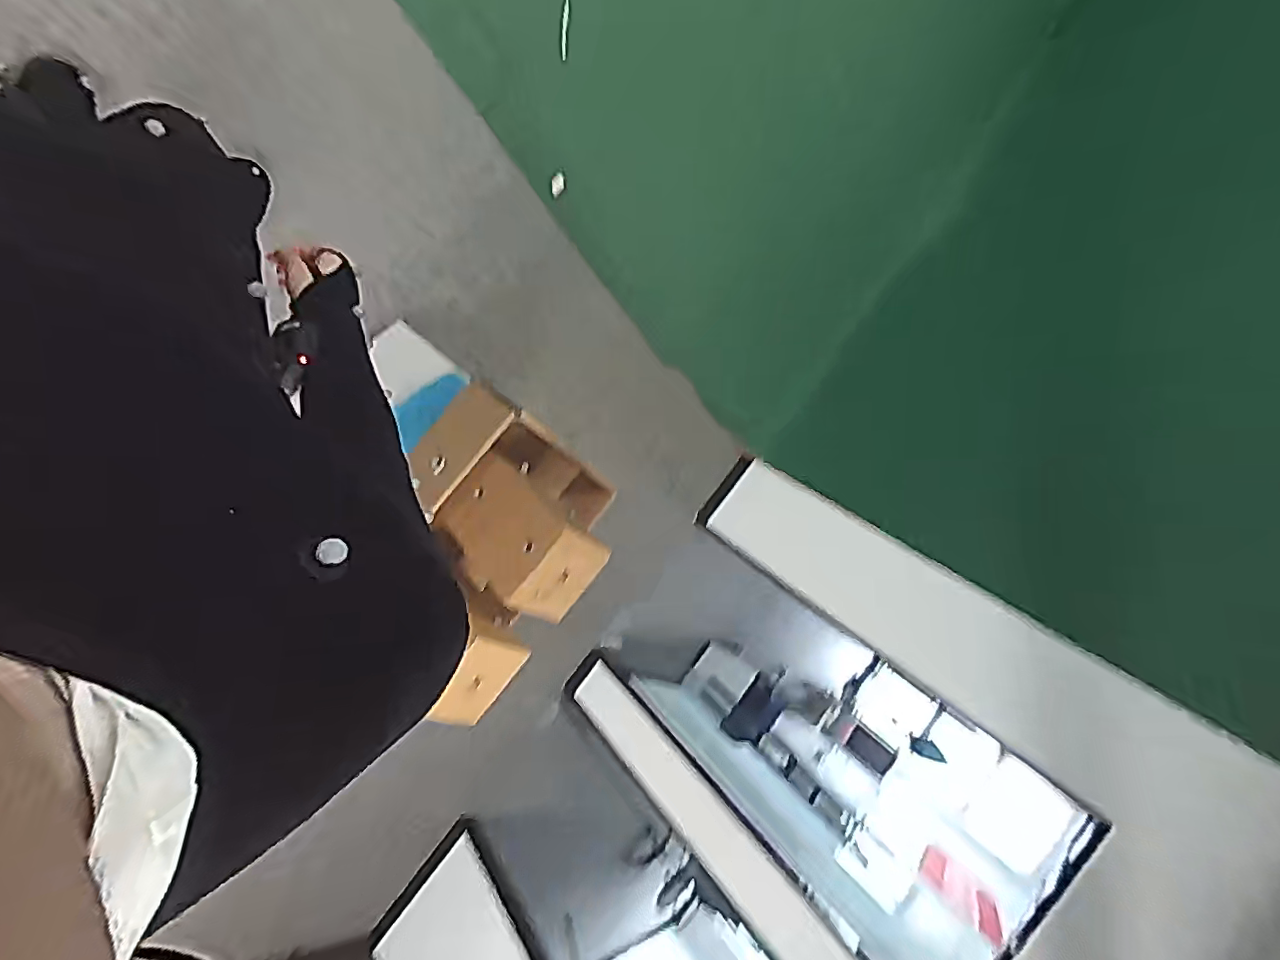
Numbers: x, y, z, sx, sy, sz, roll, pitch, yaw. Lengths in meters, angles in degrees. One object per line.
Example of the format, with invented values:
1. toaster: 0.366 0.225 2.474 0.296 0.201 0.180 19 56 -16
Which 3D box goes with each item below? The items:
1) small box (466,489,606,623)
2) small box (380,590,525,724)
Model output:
1. small box: -0.206 0.146 1.064 0.179 0.176 0.168 -50 143 -2
2. small box: -0.368 0.343 1.055 0.179 0.176 0.168 -50 143 -4
